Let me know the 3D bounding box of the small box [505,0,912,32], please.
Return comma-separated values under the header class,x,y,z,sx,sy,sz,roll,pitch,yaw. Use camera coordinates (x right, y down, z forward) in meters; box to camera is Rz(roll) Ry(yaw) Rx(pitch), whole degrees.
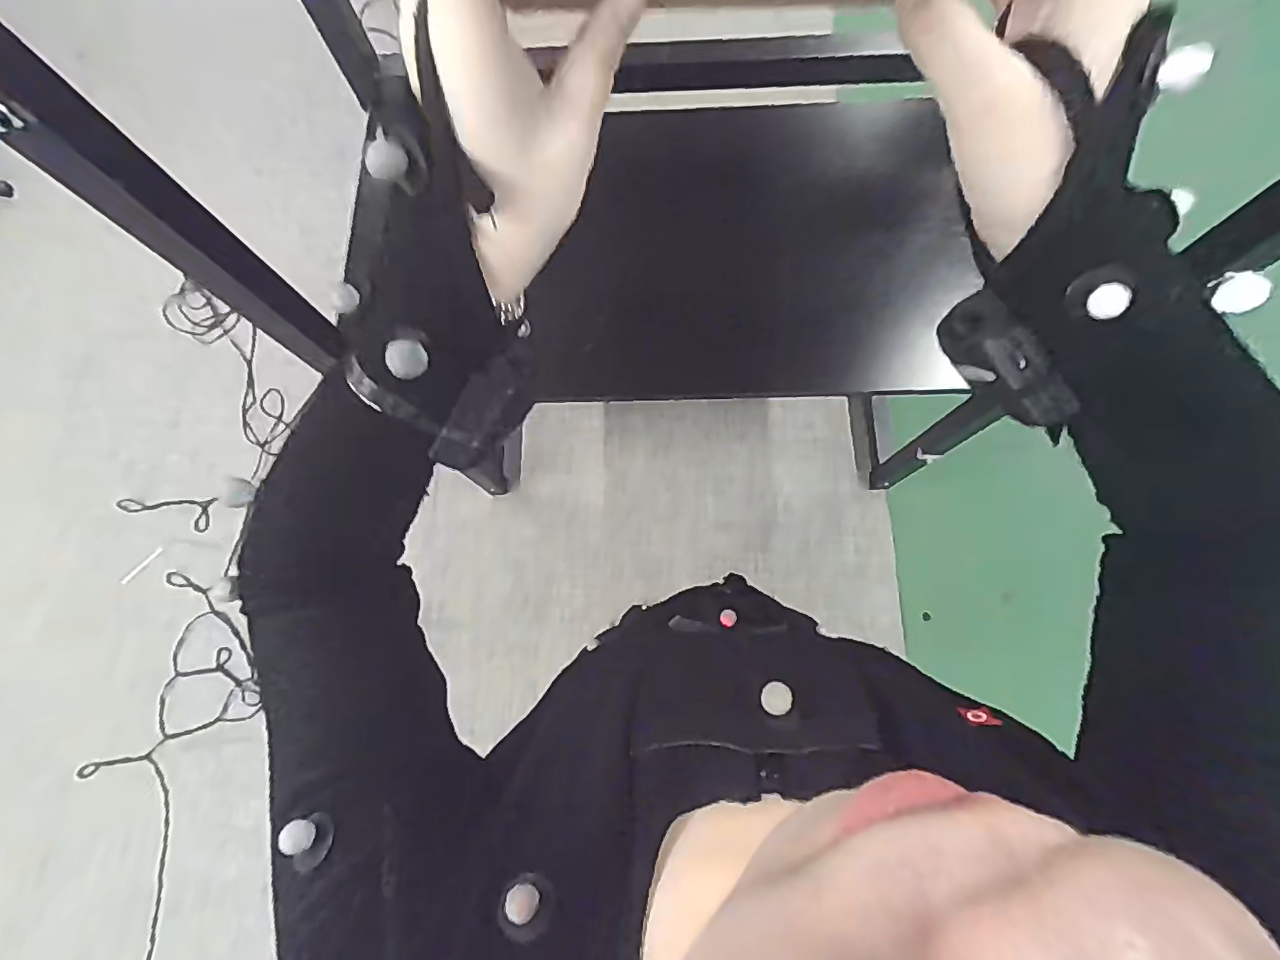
class,x,y,z,sx,sy,sz,roll,pitch,yaw
small box,0.034,-0.232,0.112,0.179,0.176,0.168,-3,106,-1
